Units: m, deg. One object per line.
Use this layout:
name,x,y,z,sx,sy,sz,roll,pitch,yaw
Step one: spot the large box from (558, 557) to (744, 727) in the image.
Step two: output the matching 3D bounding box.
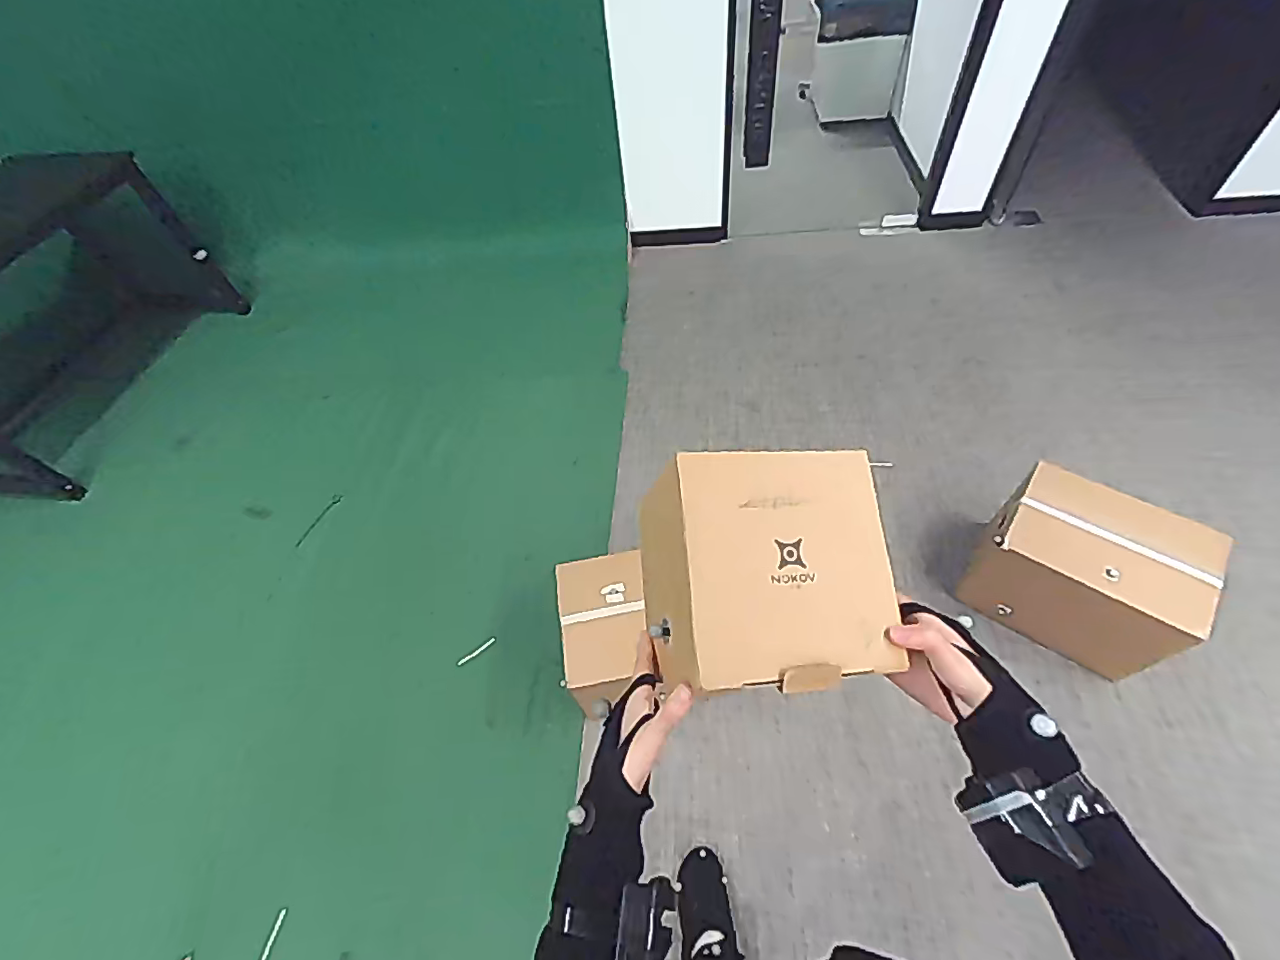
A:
large box,0.031,0.402,1.385,0.408,0.320,0.320,-12,52,-1

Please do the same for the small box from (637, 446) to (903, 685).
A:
small box,0.095,0.080,0.481,0.168,0.176,0.179,0,71,-11
